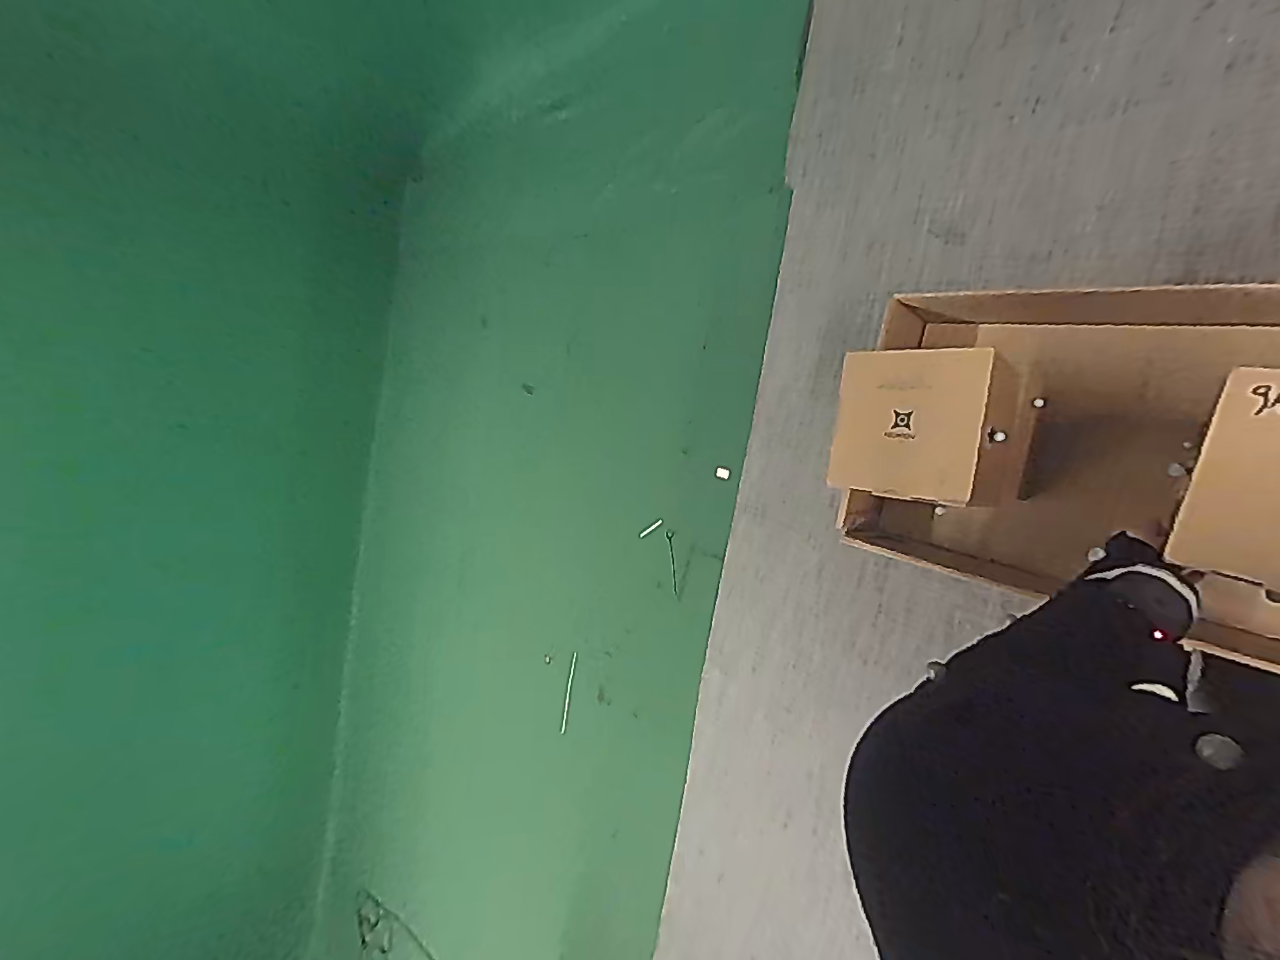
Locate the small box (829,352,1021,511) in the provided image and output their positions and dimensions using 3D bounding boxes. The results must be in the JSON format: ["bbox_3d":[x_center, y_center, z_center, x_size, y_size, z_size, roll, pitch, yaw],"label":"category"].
[{"bbox_3d":[0.368,-0.060,0.695,0.168,0.176,0.179,11,95,44],"label":"small box"}]
